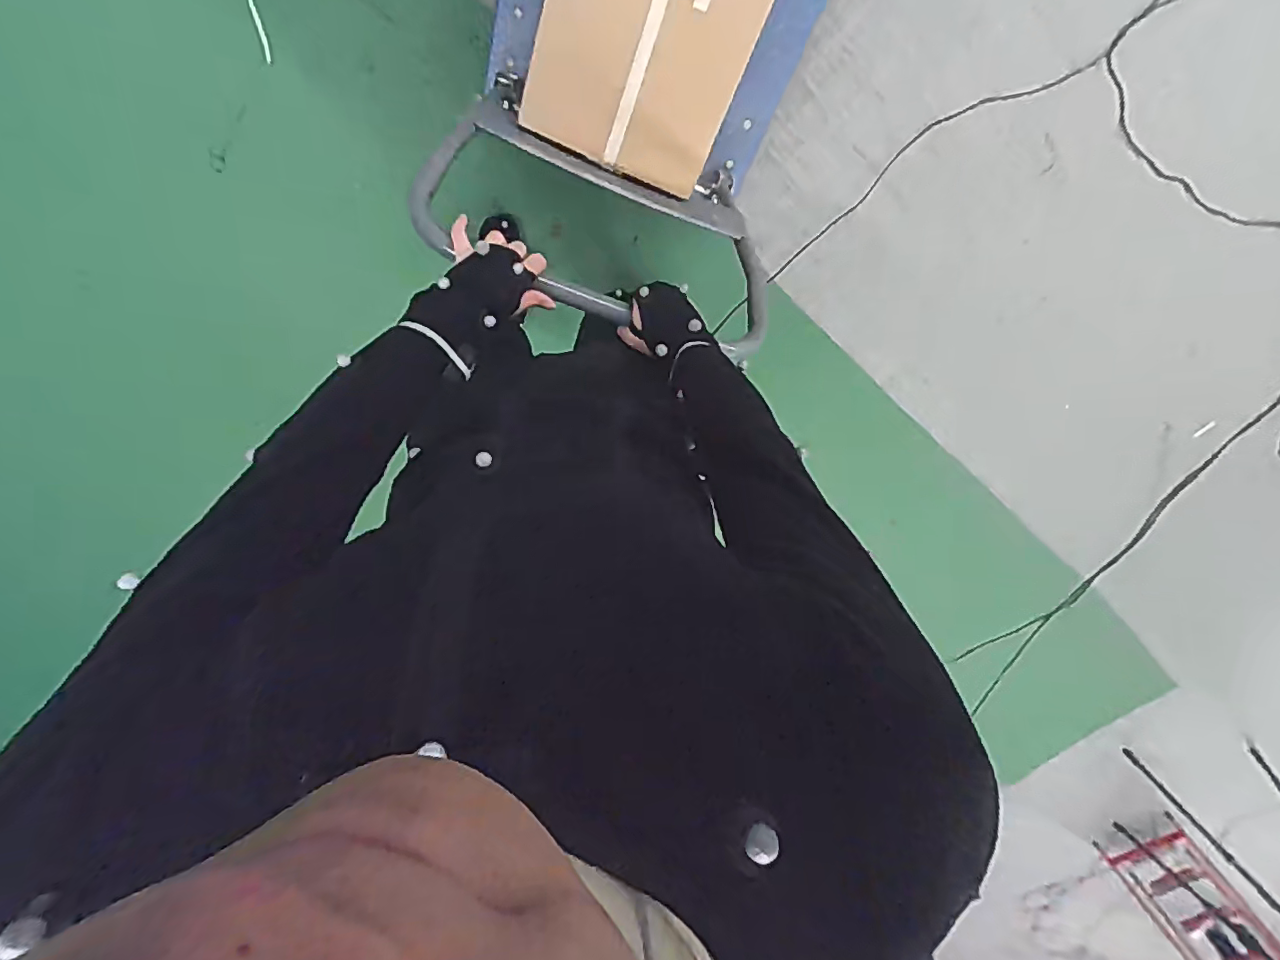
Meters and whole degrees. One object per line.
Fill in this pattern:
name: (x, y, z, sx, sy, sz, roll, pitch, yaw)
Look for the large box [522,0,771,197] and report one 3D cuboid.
large box: (0.014, -0.779, 0.928, 0.320, 0.320, 0.408, 16, 127, -16)
